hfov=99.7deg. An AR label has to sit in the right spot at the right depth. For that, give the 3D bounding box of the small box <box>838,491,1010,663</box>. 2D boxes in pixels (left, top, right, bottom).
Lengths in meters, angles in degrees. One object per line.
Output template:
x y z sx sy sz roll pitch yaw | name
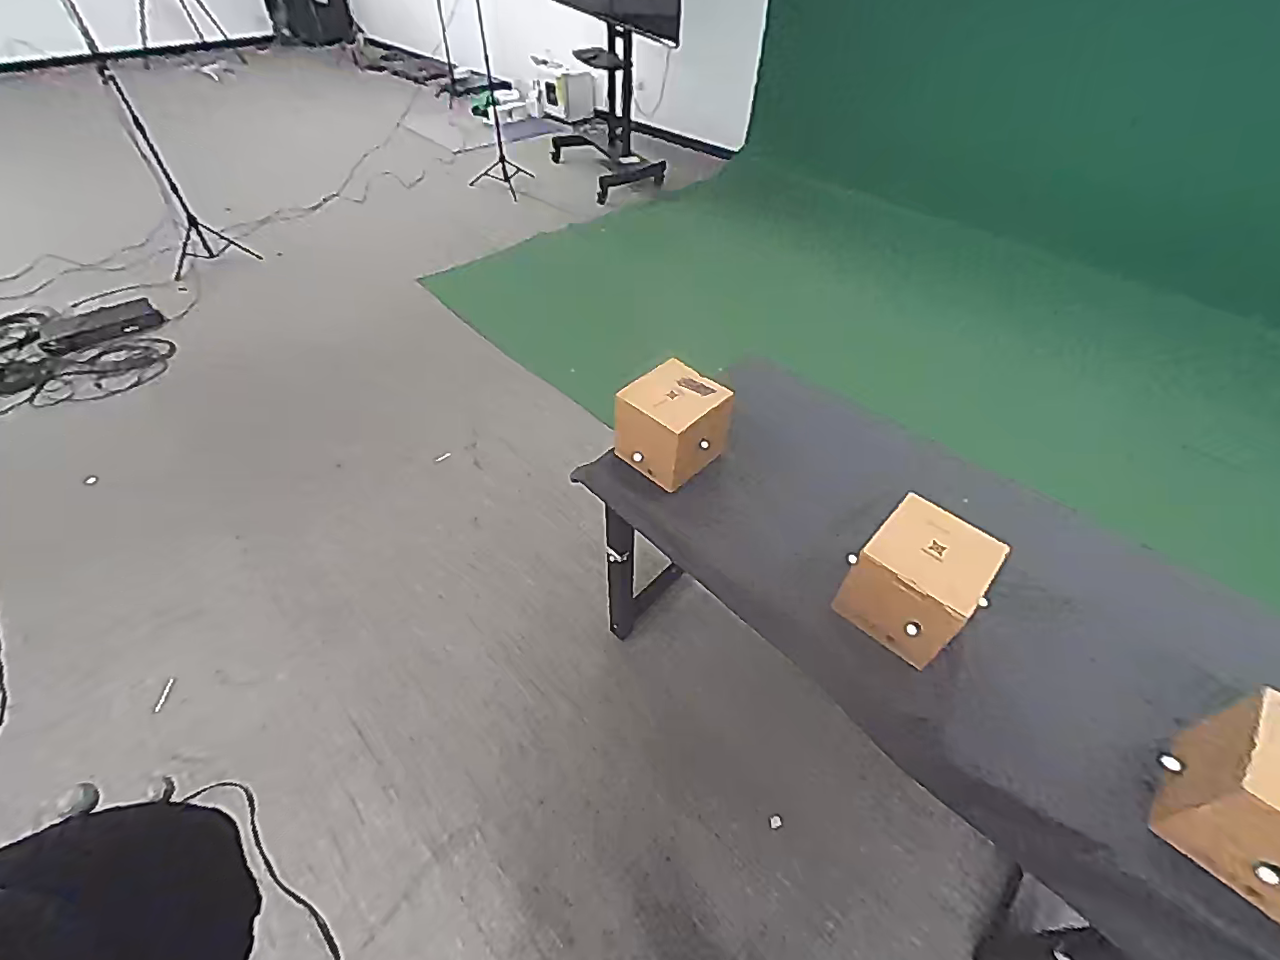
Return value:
0.444 0.158 0.873 0.168 0.176 0.179 36 54 26 | small box

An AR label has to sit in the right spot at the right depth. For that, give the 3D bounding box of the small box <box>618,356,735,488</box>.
0.067 -0.118 1.108 0.168 0.176 0.179 36 56 27 | small box

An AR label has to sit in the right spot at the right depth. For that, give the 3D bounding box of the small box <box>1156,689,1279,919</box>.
0.785 0.401 0.653 0.179 0.176 0.168 -34 54 -29 | small box
